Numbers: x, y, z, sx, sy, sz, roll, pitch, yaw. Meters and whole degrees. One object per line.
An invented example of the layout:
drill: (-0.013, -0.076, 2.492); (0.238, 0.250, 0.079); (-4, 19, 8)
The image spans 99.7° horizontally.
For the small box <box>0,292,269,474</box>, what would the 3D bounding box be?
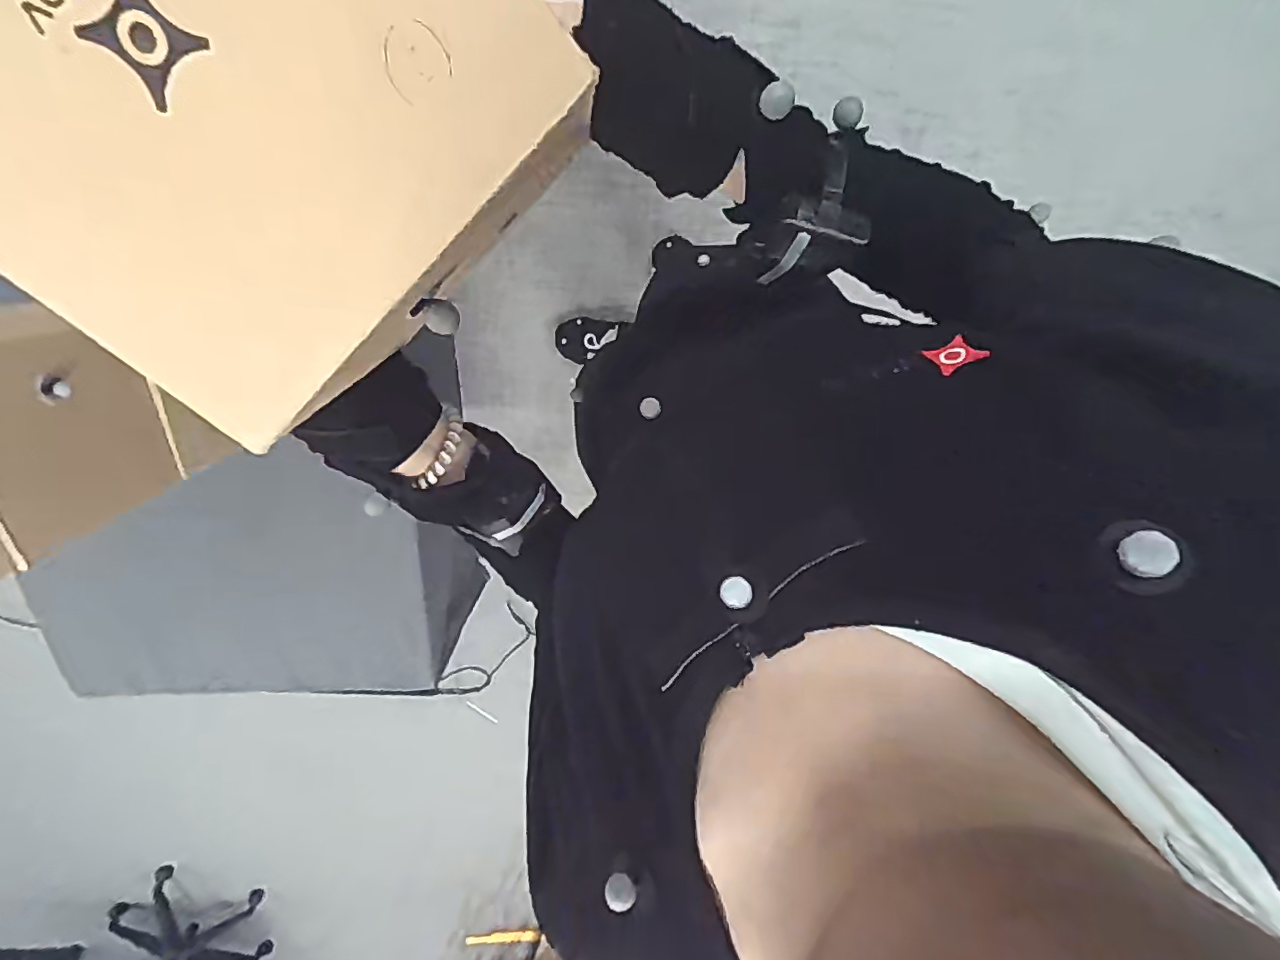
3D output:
small box: (-0.571, -0.119, 0.614); (0.179, 0.176, 0.168); (3, 114, -4)

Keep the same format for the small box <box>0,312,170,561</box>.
small box: (-0.570, -0.049, 0.466); (0.168, 0.176, 0.179); (1, 114, -1)

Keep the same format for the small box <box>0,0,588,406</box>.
small box: (-0.134, -0.164, 0.205); (0.168, 0.176, 0.179); (-40, 112, 13)
